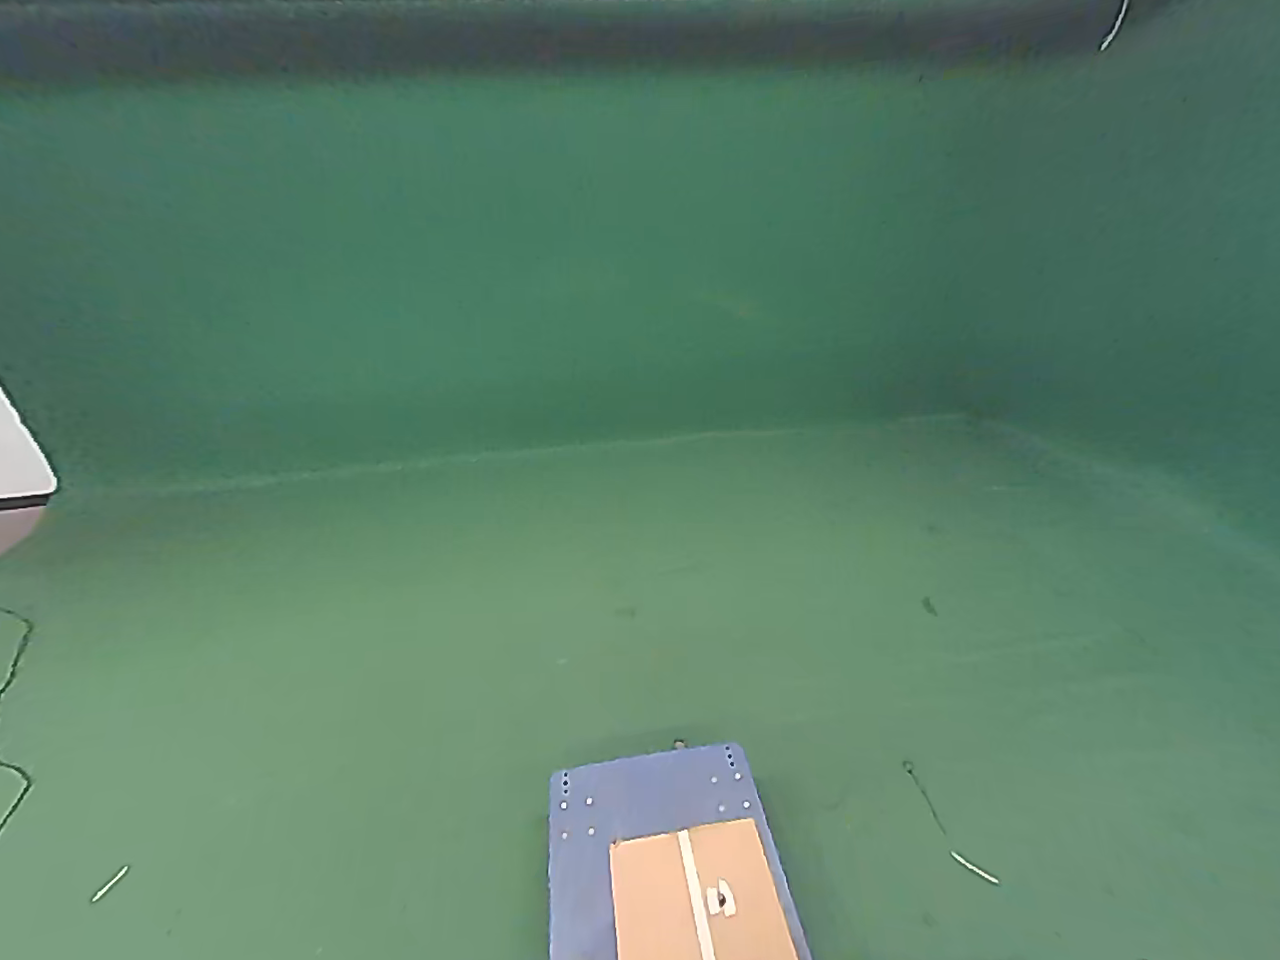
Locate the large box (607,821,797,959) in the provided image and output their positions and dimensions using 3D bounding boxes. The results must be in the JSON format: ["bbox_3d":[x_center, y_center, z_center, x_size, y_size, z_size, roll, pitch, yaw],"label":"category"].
[{"bbox_3d":[0.124,0.968,1.034,0.320,0.320,0.408,-6,29,-7],"label":"large box"}]
